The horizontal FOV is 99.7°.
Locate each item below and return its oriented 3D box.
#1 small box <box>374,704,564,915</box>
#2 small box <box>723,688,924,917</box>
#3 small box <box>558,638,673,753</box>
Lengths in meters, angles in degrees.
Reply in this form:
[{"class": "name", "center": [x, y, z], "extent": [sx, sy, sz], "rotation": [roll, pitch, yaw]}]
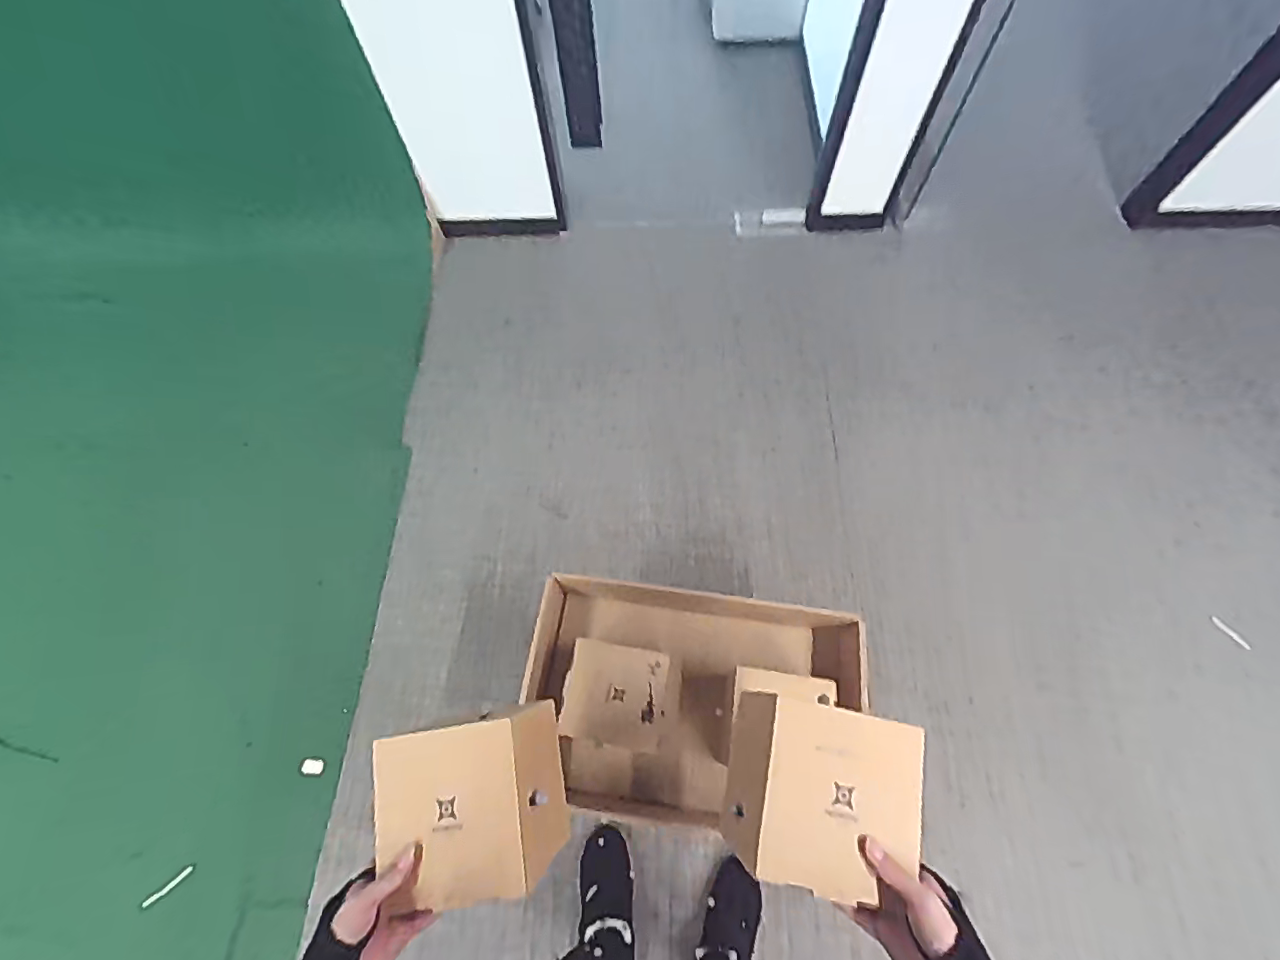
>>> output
[{"class": "small box", "center": [-0.198, 0.378, 0.657], "extent": [0.168, 0.176, 0.179], "rotation": [-11, 74, 4]}, {"class": "small box", "center": [0.200, 0.350, 0.625], "extent": [0.168, 0.176, 0.179], "rotation": [13, 69, 1]}, {"class": "small box", "center": [-0.037, 0.409, 1.019], "extent": [0.179, 0.176, 0.168], "rotation": [9, 65, 8]}]
